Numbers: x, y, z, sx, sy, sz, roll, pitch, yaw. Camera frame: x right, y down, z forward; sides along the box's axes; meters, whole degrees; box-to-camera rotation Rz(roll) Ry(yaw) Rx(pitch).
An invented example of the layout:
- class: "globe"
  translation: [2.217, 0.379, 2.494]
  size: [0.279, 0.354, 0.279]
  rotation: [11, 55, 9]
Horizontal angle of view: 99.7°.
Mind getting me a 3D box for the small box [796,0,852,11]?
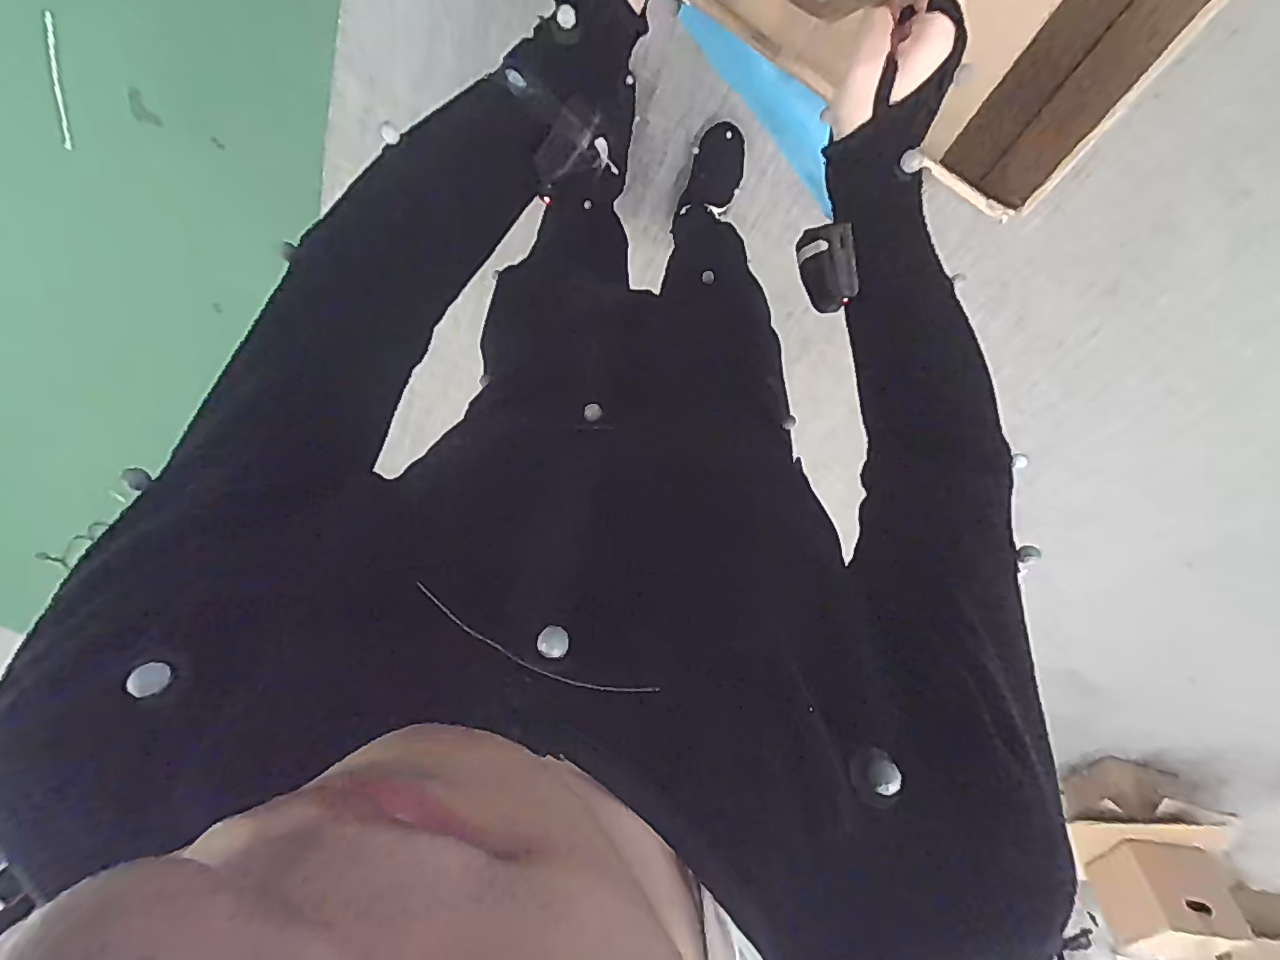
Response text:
- class: "small box"
  translation: [0.129, -0.476, 0.385]
  size: [0.179, 0.176, 0.168]
  rotation: [18, 123, -10]
